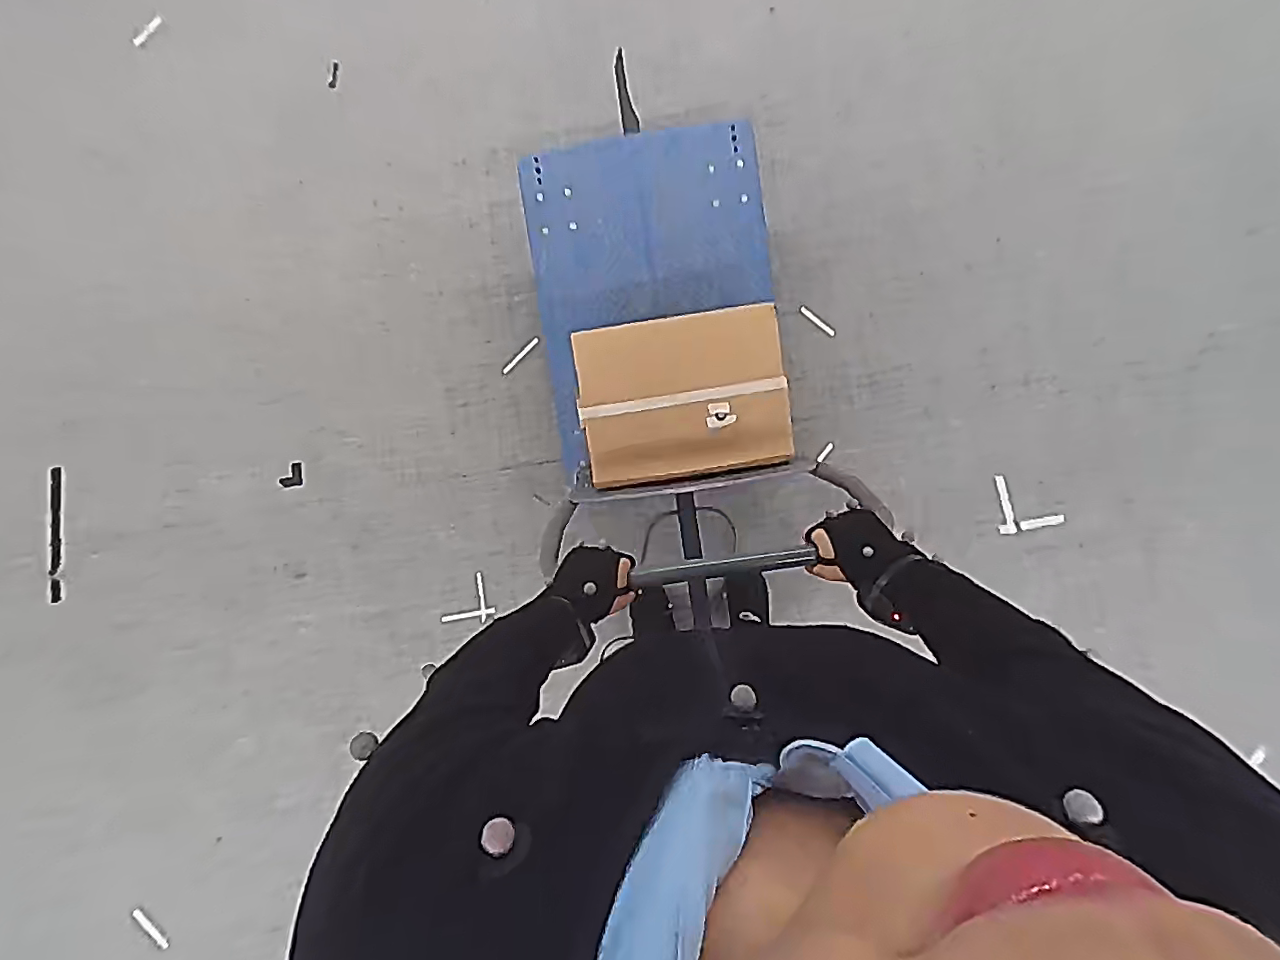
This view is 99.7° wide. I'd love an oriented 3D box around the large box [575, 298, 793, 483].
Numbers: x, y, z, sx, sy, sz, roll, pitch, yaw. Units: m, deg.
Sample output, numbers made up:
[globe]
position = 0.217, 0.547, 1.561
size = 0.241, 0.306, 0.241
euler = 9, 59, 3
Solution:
[large box]
position = 0.089, -0.190, 1.225
size = 0.408, 0.320, 0.320
euler = -9, 97, 1
